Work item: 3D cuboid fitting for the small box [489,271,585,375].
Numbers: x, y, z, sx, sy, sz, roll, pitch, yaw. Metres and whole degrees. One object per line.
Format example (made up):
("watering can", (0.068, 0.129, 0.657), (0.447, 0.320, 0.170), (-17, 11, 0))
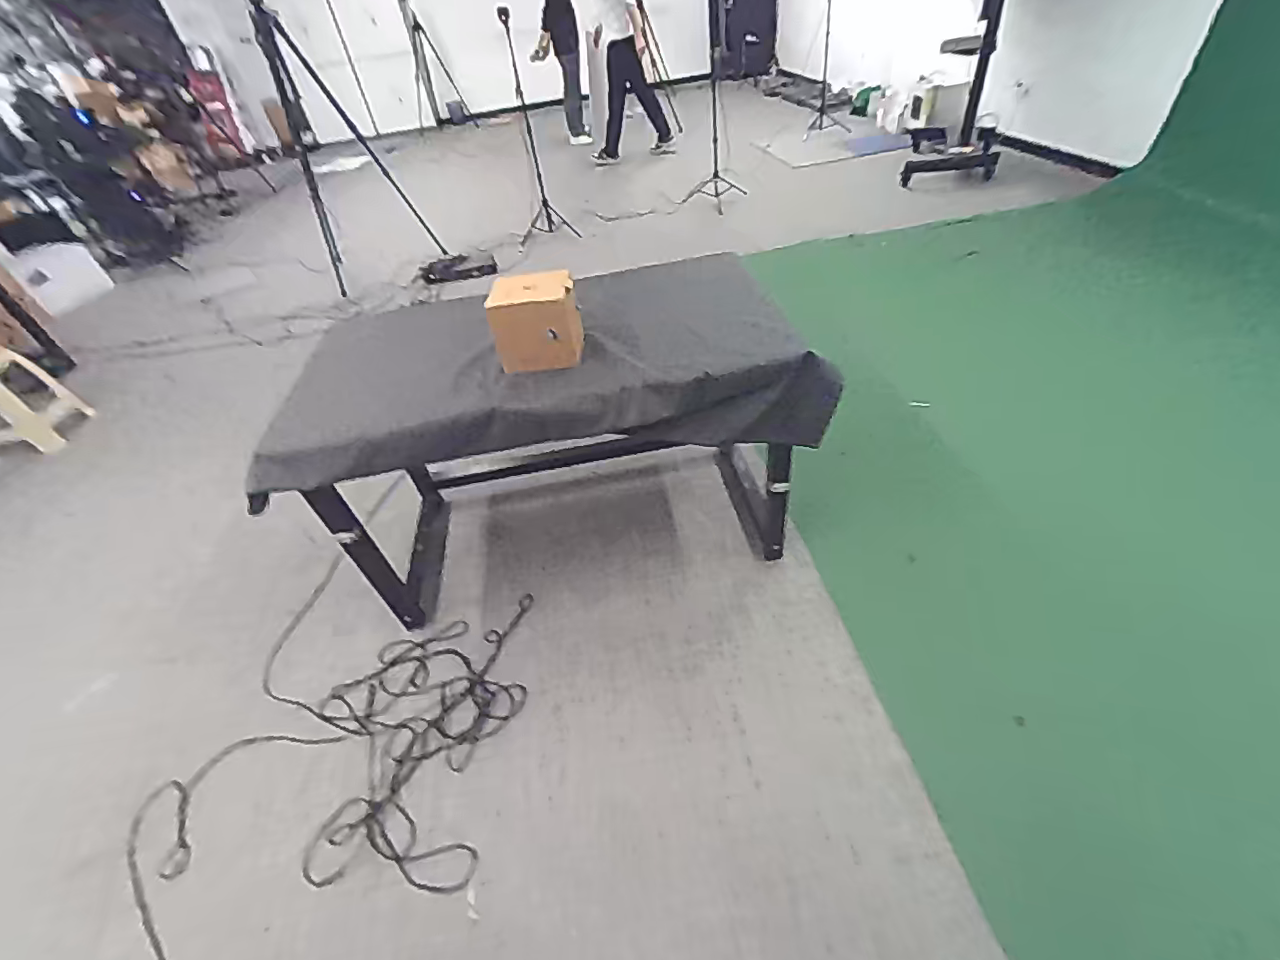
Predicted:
("small box", (-0.227, -0.361, 1.250), (0.179, 0.176, 0.168), (-6, 41, 4))
